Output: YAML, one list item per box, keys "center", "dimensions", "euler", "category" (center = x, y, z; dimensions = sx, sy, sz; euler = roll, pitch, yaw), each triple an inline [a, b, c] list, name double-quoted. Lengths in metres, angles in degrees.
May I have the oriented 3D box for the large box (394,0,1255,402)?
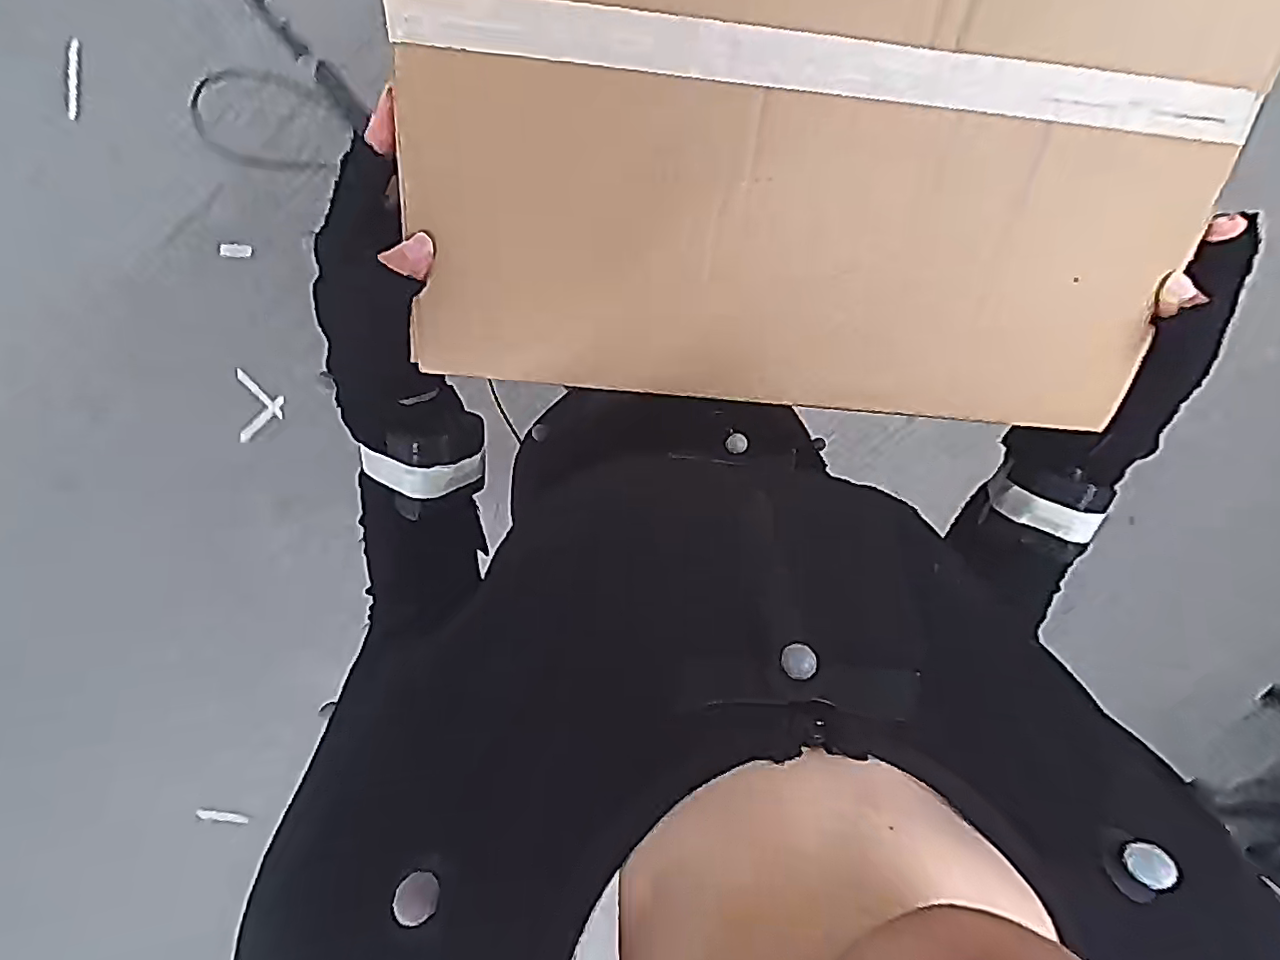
- center: [0.077, -0.253, 0.396]
  dimensions: [0.408, 0.320, 0.320]
  euler: [3, 115, -4]
  category: "large box"
